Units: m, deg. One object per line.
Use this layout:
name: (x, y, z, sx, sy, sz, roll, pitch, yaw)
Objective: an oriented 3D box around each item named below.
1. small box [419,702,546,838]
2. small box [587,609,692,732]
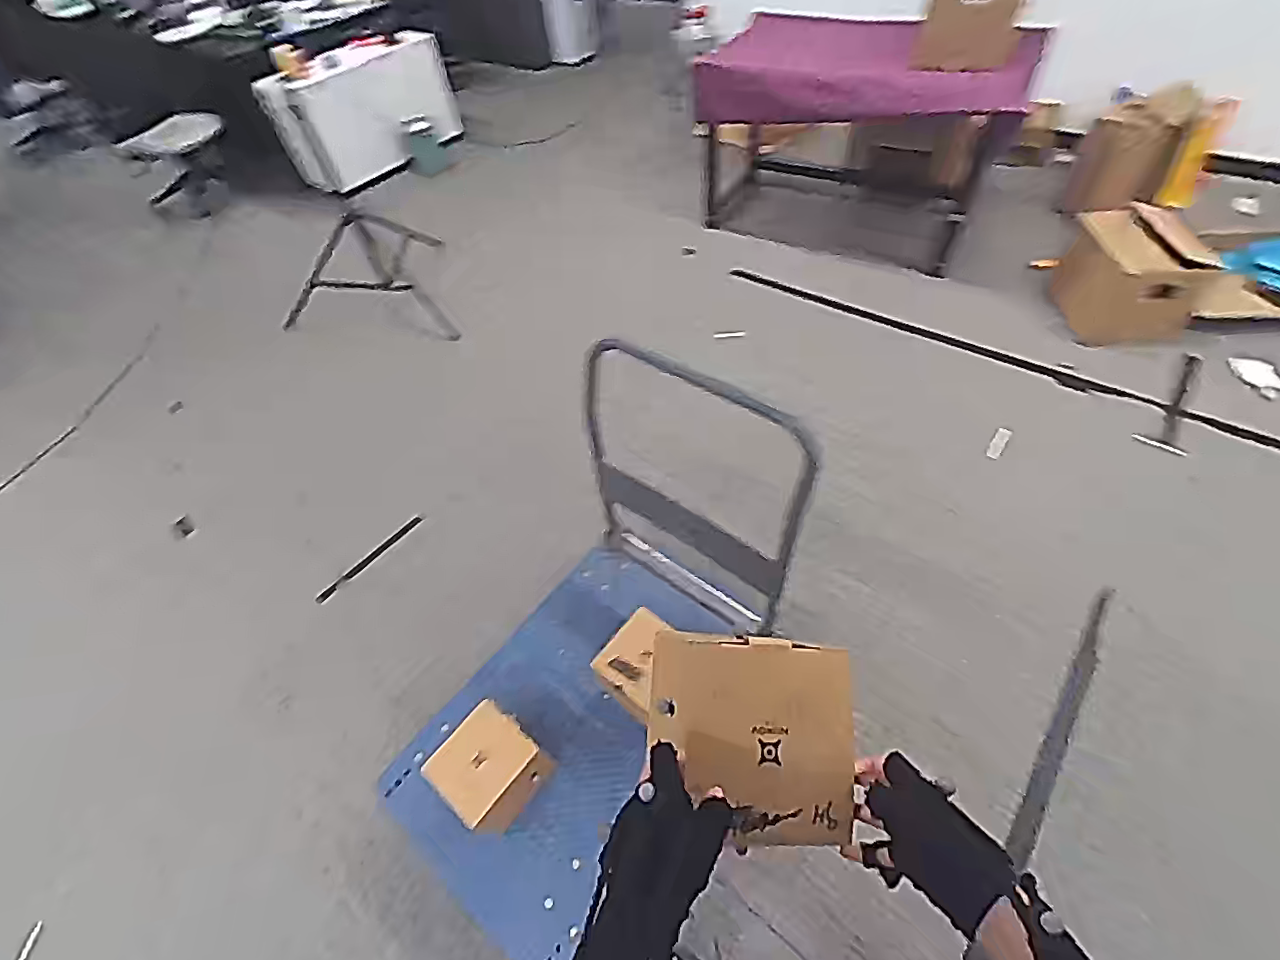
small box: (-0.316, 0.608, 1.131, 0.168, 0.176, 0.179, 29, 61, 27)
small box: (0.007, 0.437, 1.229, 0.168, 0.176, 0.179, 31, 61, 27)
